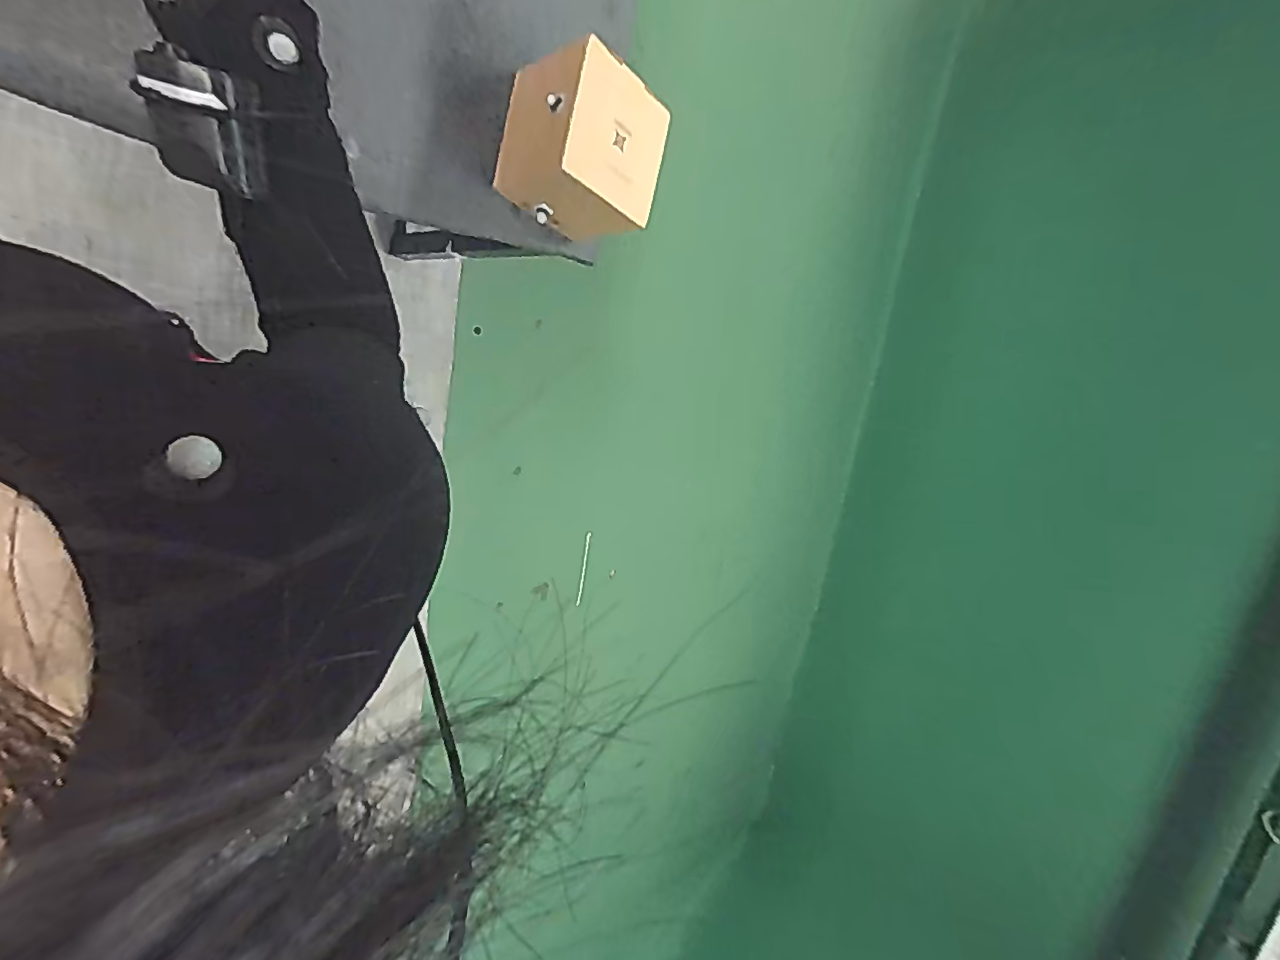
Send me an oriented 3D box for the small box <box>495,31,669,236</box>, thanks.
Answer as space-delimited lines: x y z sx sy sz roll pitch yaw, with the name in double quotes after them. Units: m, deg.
-0.087 -0.479 0.783 0.168 0.176 0.179 11 93 -47 "small box"
